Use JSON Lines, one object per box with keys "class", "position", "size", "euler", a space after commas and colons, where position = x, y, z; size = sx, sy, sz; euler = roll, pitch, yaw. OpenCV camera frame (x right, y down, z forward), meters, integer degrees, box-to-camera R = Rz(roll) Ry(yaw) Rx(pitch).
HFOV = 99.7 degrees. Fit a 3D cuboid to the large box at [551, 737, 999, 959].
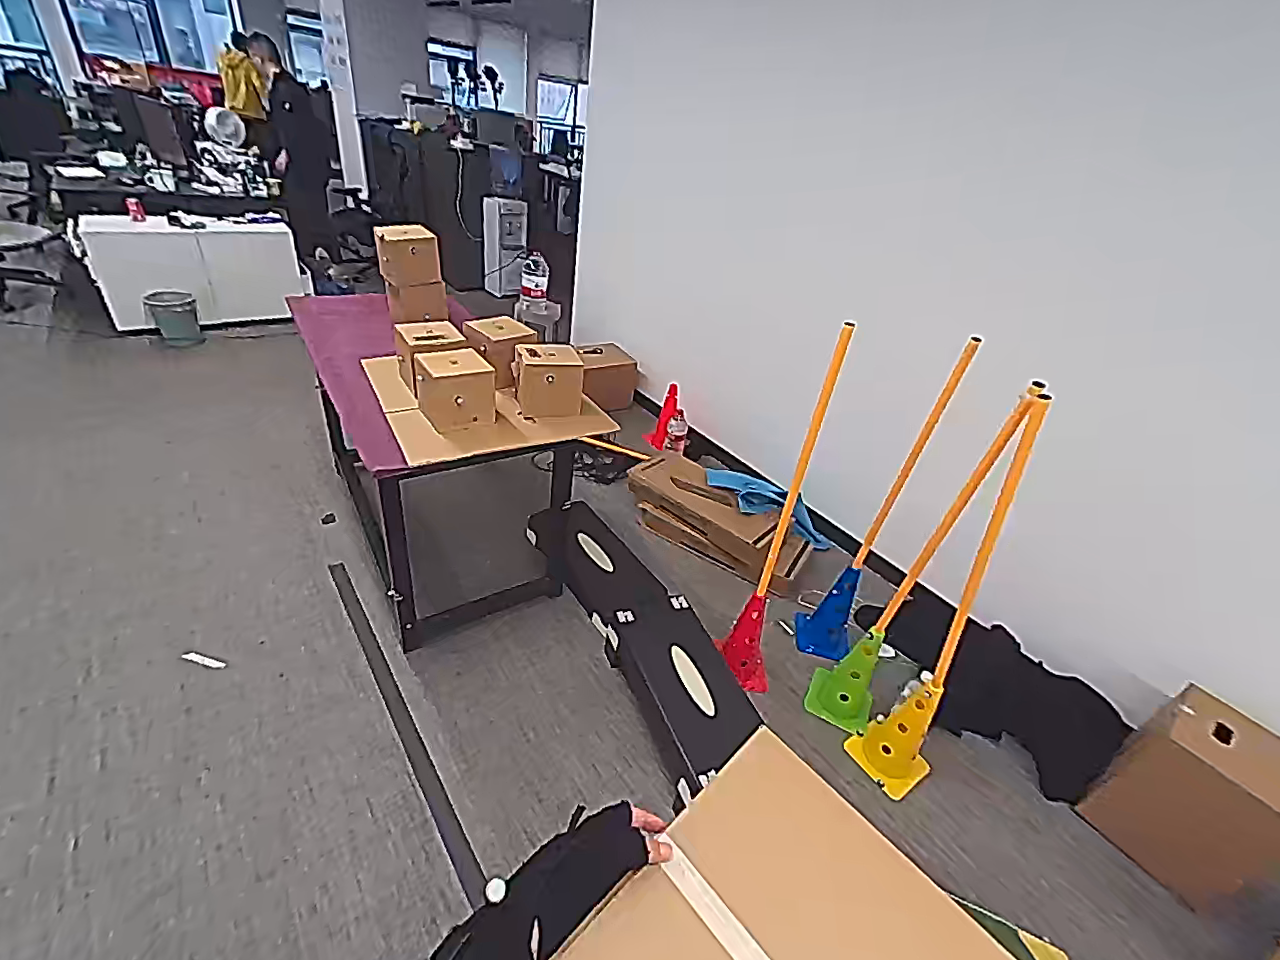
{"class": "large box", "position": [0.134, 0.538, 0.478], "size": [0.320, 0.320, 0.408], "euler": [-29, 52, -34]}
